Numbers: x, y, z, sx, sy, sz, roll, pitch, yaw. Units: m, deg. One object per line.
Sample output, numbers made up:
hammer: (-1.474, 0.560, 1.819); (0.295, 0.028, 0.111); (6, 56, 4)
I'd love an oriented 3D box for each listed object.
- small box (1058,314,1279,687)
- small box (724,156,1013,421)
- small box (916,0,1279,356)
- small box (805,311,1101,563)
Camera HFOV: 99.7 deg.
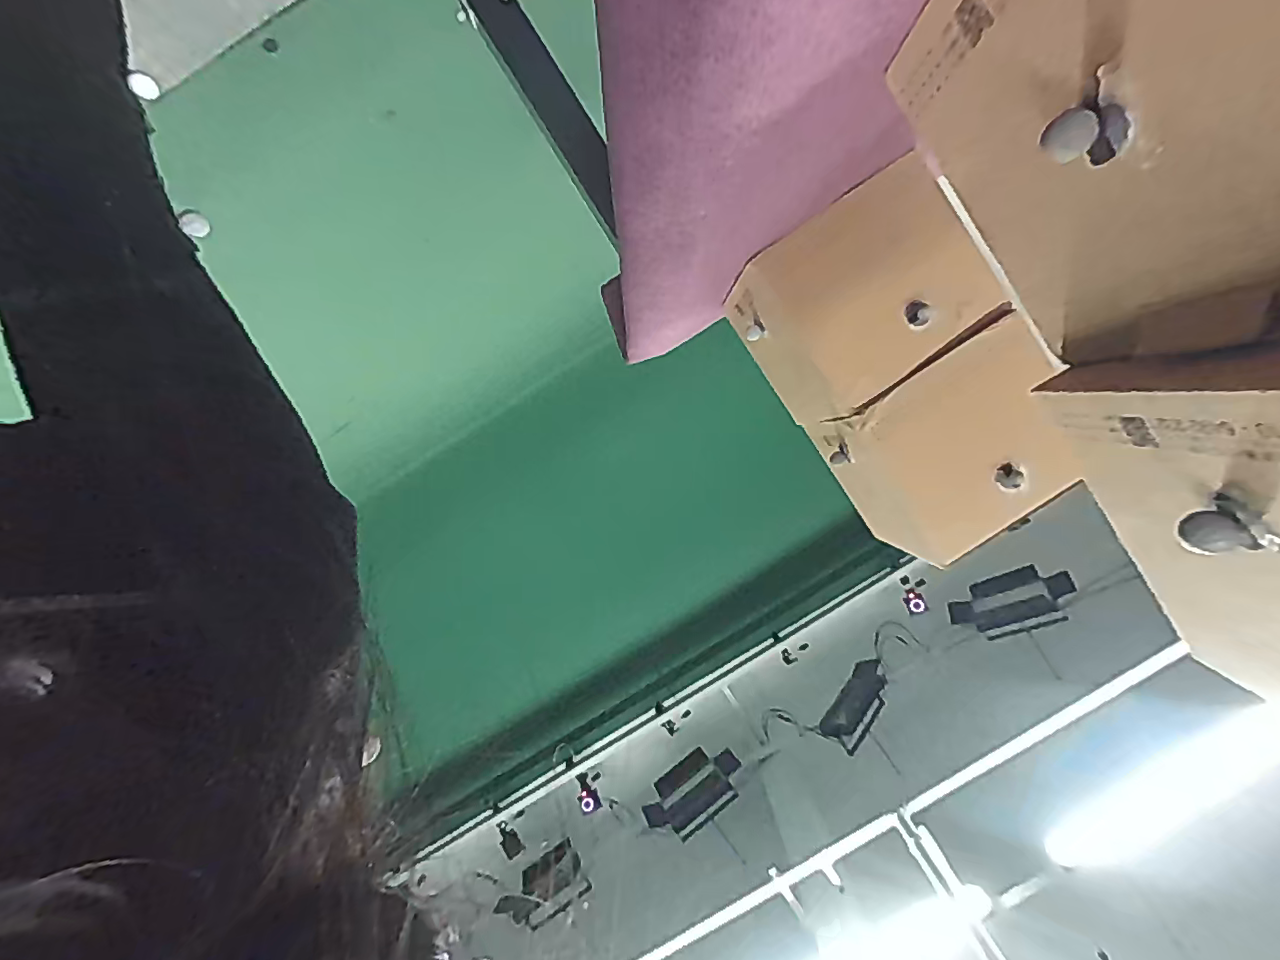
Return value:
small box: (0.301, -0.016, 0.173); (0.179, 0.176, 0.168); (-33, -177, 11)
small box: (0.213, -0.180, 0.551); (0.179, 0.176, 0.168); (-33, -178, 1)
small box: (0.230, -0.166, 0.170); (0.179, 0.176, 0.168); (-33, -176, 5)
small box: (0.305, -0.046, 0.554); (0.179, 0.176, 0.168); (-34, -178, 4)
